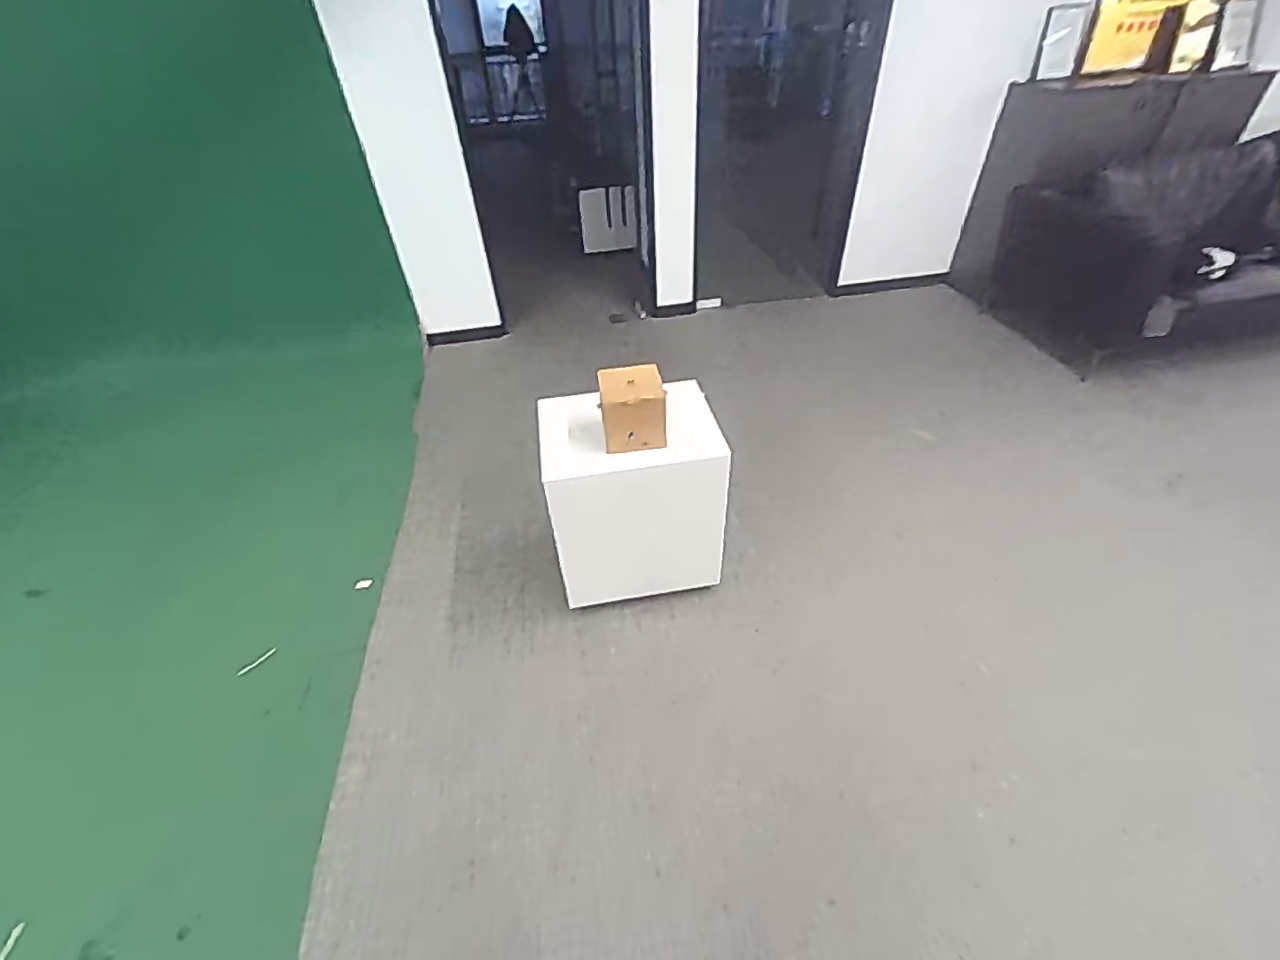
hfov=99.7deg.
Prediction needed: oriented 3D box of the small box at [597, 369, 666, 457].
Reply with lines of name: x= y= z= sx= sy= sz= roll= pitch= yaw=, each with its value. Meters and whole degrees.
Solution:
small box: x=-0.025 y=-0.185 z=1.484 sx=0.168 sy=0.176 sz=0.179 roll=-8 pitch=40 yaw=-5
